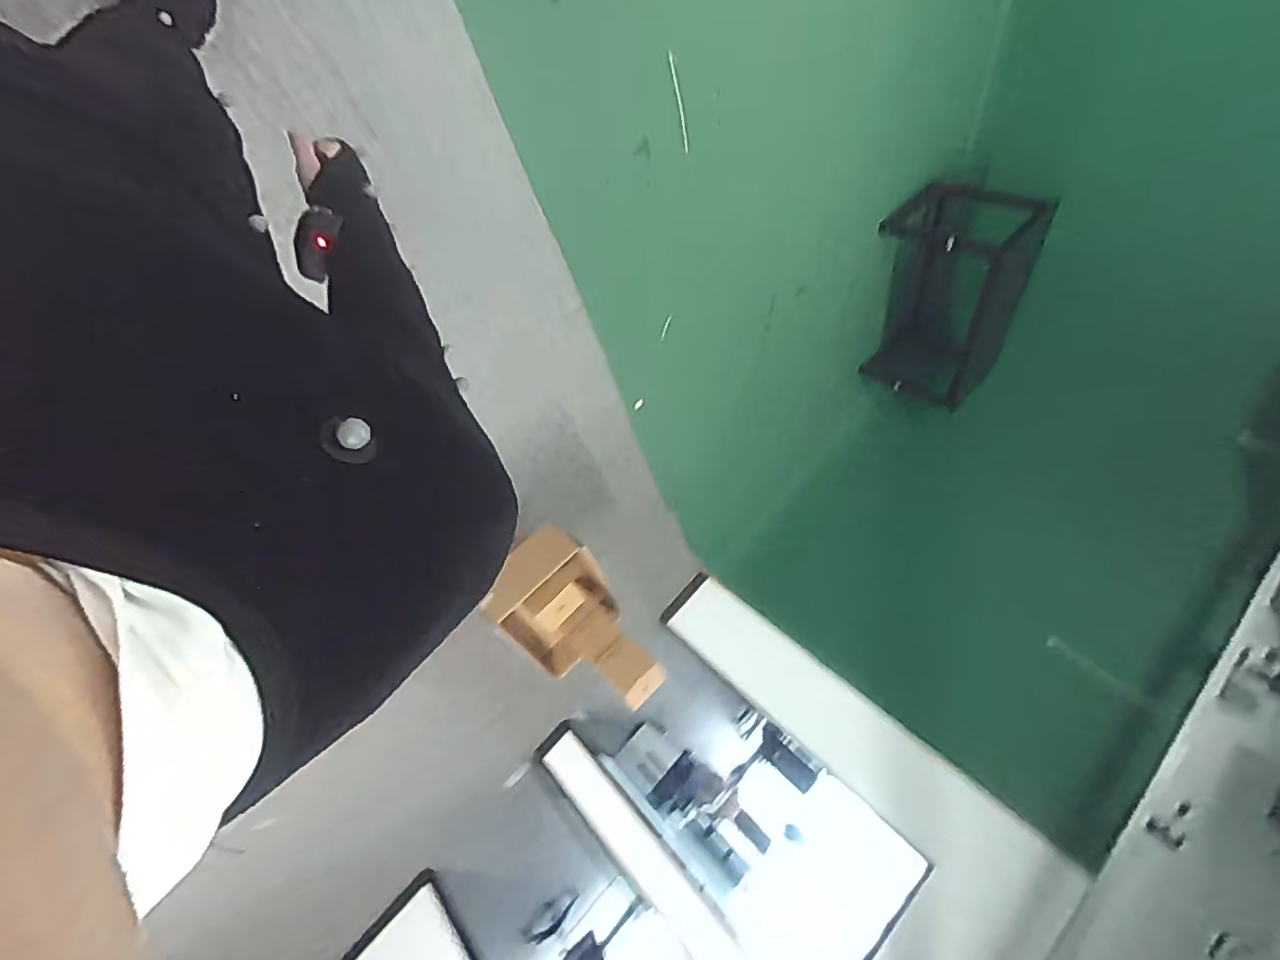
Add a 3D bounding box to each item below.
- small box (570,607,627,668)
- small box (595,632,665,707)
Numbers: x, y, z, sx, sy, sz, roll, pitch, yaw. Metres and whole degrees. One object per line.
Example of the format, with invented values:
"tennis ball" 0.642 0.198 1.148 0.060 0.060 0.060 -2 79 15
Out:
"small box" -0.139 0.615 2.078 0.168 0.176 0.179 -45 144 -11
"small box" -0.036 0.687 1.971 0.168 0.176 0.179 -41 143 -18
